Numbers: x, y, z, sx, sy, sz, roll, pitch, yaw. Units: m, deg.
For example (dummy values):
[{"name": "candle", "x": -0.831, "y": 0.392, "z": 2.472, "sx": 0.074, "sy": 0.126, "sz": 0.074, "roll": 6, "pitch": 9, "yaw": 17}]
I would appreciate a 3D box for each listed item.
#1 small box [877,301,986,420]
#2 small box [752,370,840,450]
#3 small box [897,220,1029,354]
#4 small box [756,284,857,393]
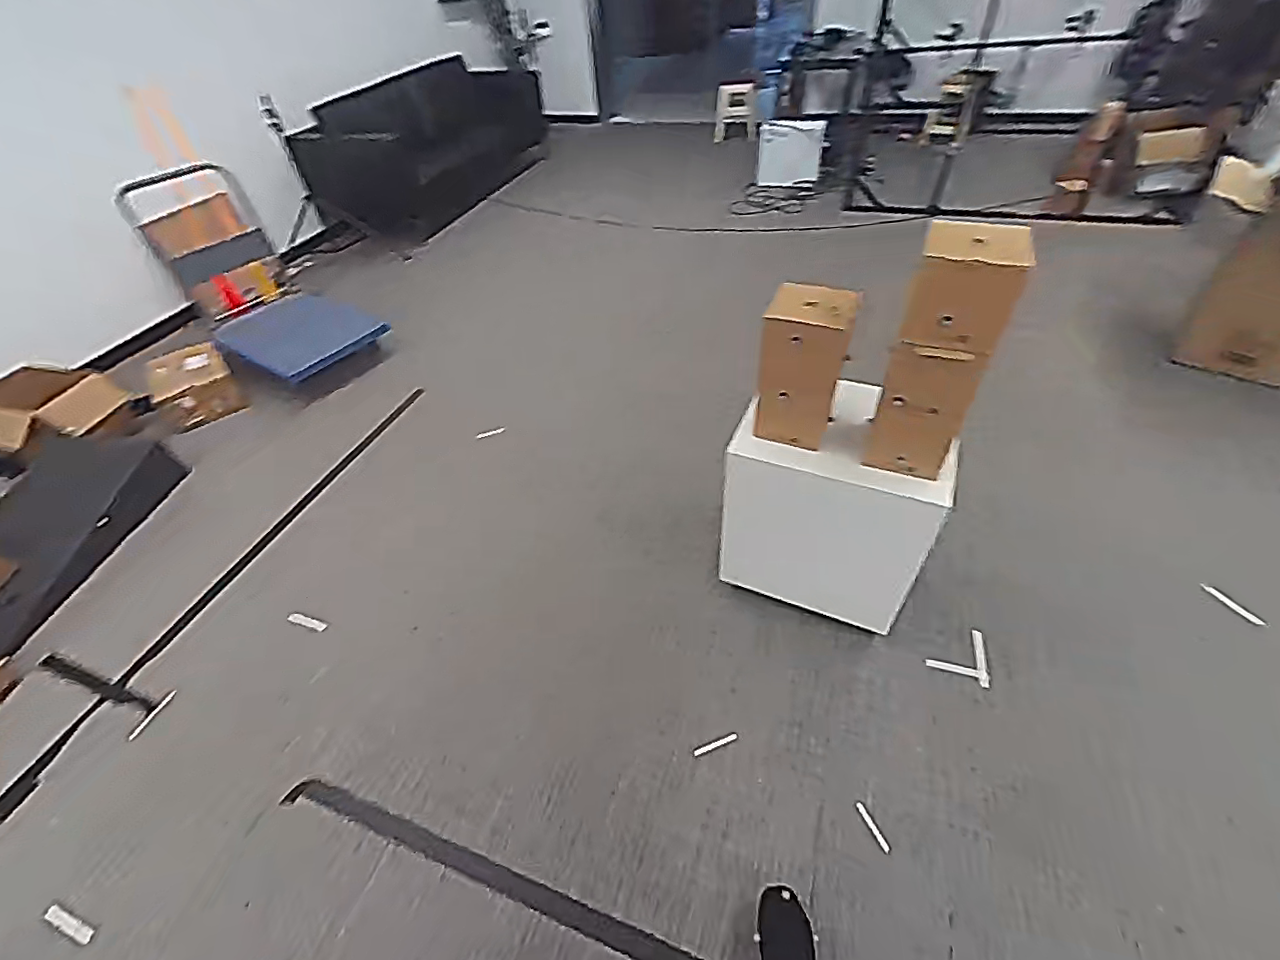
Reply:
[{"name": "small box", "x": 0.604, "y": -0.248, "z": 1.126, "sx": 0.168, "sy": 0.176, "sz": 0.179, "roll": 14, "pitch": 48, "yaw": 19}, {"name": "small box", "x": 0.381, "y": -0.203, "z": 1.333, "sx": 0.168, "sy": 0.176, "sz": 0.179, "roll": 16, "pitch": 48, "yaw": 21}, {"name": "small box", "x": 0.593, "y": -0.361, "z": 1.009, "sx": 0.168, "sy": 0.176, "sz": 0.179, "roll": 14, "pitch": 49, "yaw": 19}, {"name": "small box", "x": 0.368, "y": -0.316, "z": 1.214, "sx": 0.179, "sy": 0.176, "sz": 0.168, "roll": 16, "pitch": 50, "yaw": 20}]
